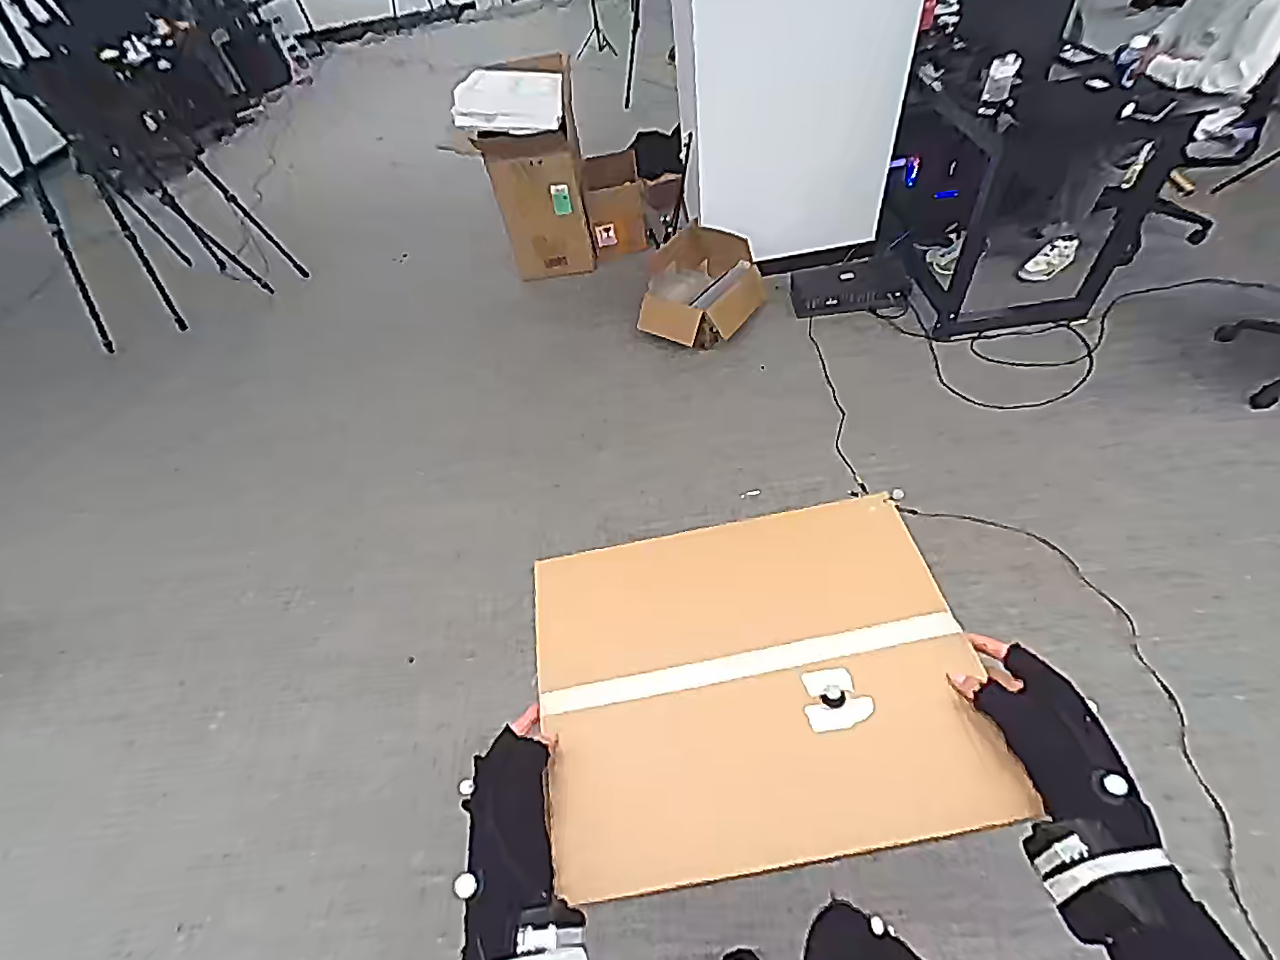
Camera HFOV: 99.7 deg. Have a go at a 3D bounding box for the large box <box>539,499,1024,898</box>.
[{"bbox_3d":[0.119,0.270,0.650,0.408,0.320,0.320,-12,54,1],"label":"large box"}]
